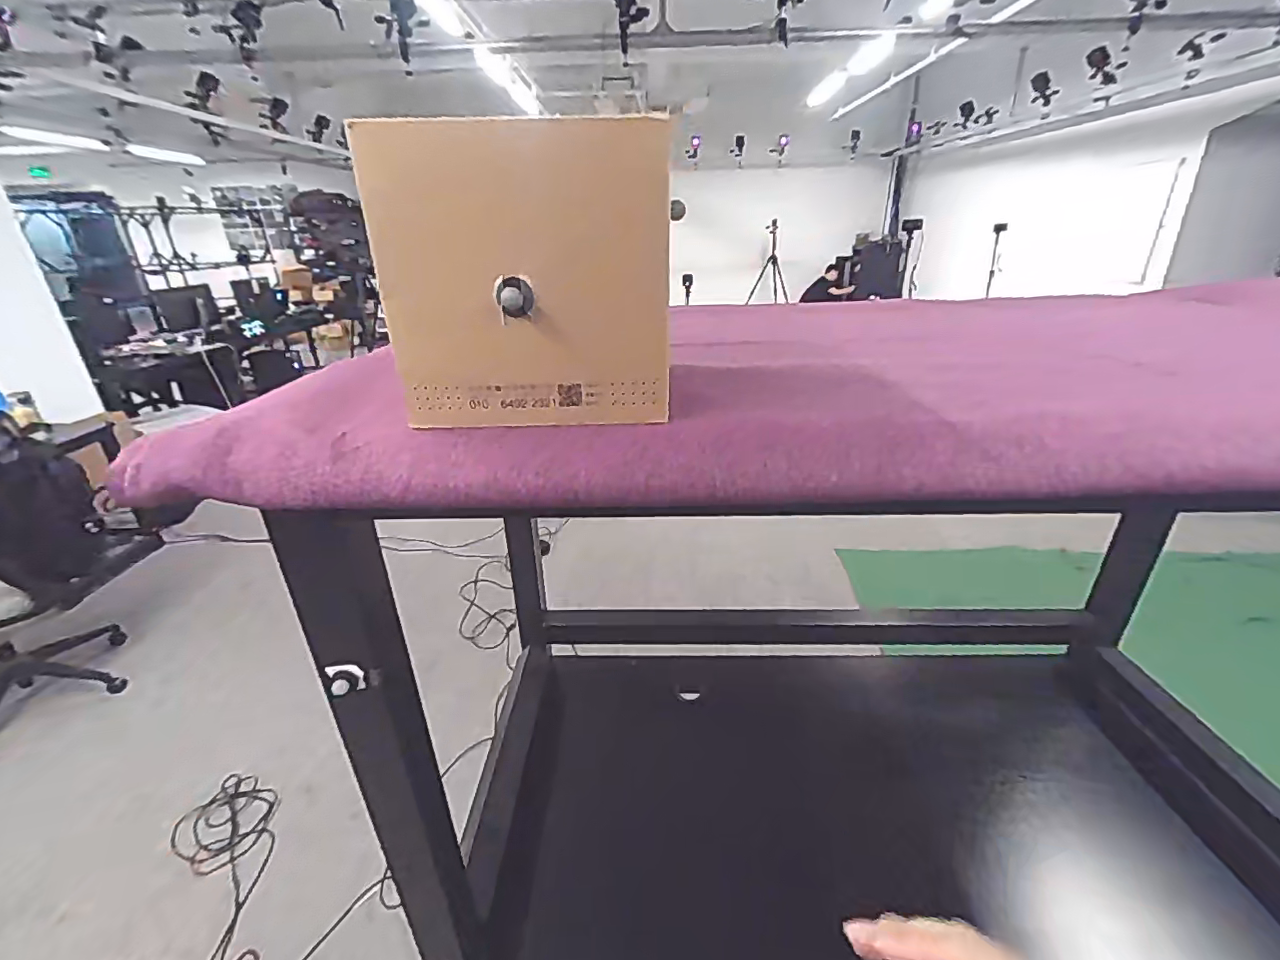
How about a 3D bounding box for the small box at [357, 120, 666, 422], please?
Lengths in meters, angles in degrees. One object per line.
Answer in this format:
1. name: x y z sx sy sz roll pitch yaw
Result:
1. small box: -0.067 -0.144 0.389 0.168 0.176 0.179 -1 25 -1
